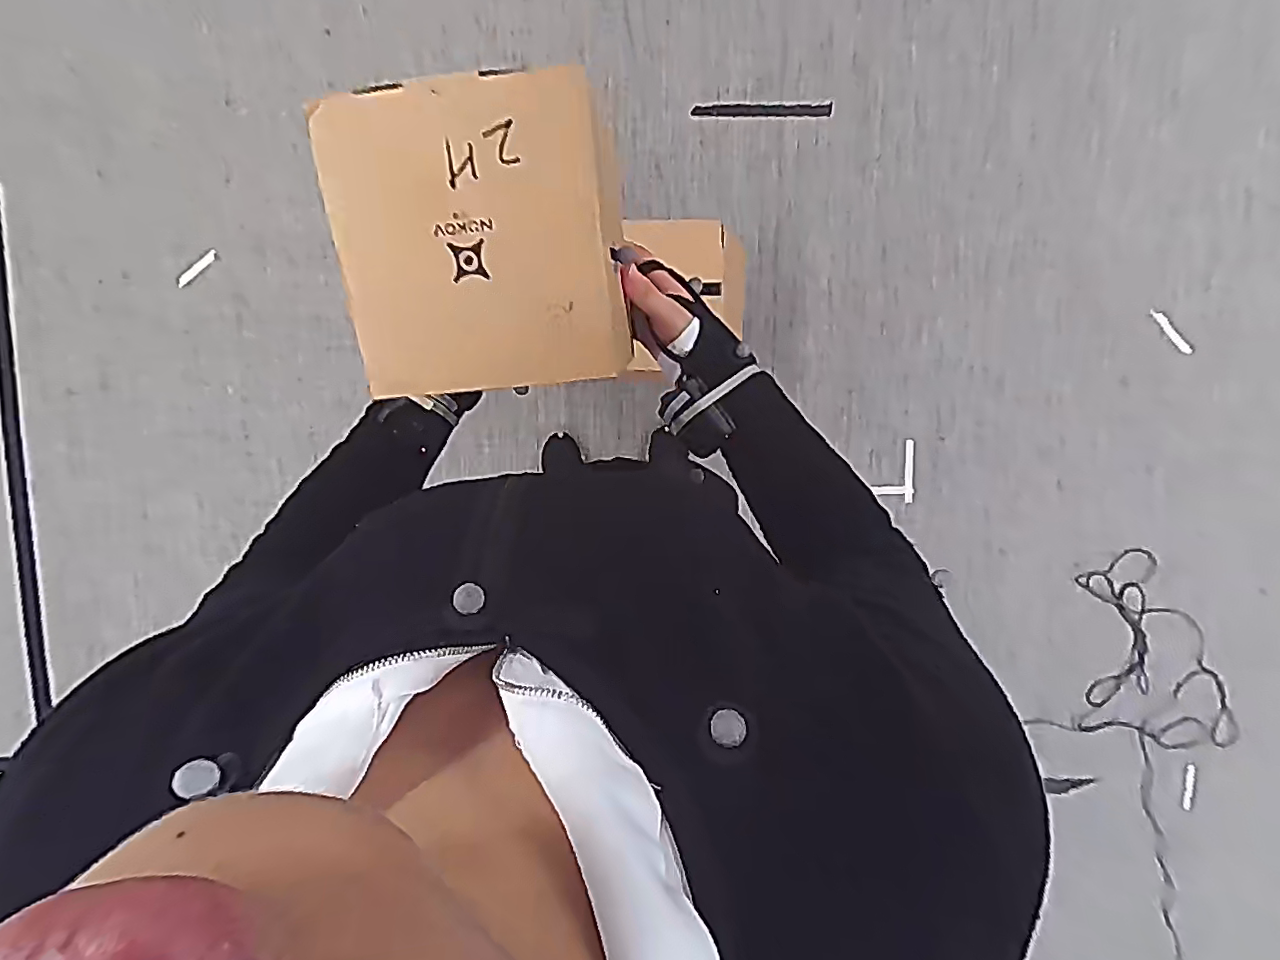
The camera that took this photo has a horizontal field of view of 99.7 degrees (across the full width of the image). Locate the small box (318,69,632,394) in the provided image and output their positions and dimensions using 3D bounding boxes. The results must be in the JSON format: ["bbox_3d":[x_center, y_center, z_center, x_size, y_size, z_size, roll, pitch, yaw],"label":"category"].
[{"bbox_3d":[-0.098,-0.170,0.413,0.168,0.176,0.179,-4,107,4],"label":"small box"}]
